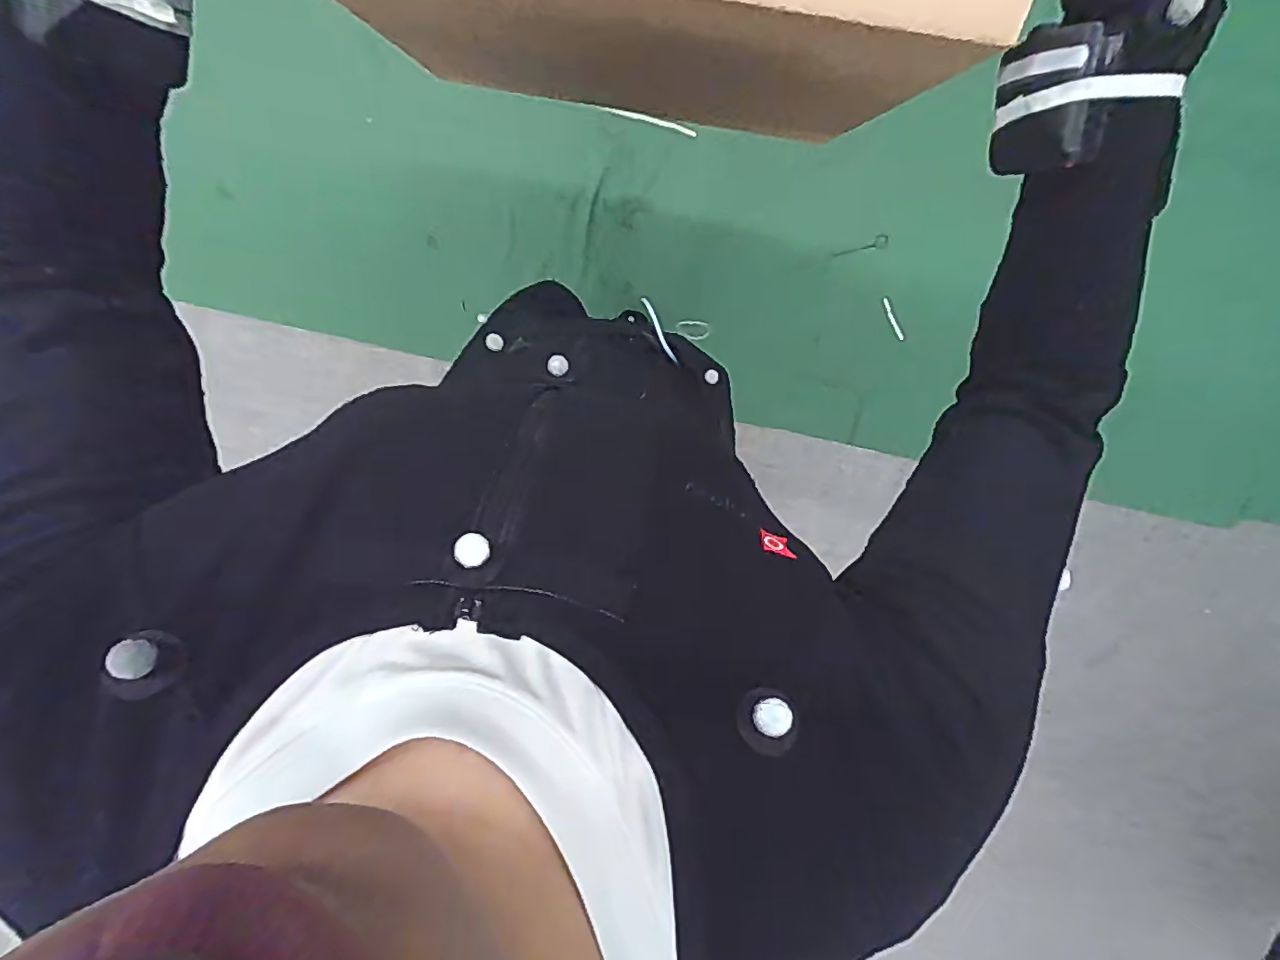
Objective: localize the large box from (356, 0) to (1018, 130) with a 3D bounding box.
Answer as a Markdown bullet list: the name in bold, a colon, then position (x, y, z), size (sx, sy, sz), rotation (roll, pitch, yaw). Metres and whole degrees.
- **large box**: position (0.017, -0.459, 0.356), size (0.408, 0.320, 0.320), rotation (7, 115, -3)
